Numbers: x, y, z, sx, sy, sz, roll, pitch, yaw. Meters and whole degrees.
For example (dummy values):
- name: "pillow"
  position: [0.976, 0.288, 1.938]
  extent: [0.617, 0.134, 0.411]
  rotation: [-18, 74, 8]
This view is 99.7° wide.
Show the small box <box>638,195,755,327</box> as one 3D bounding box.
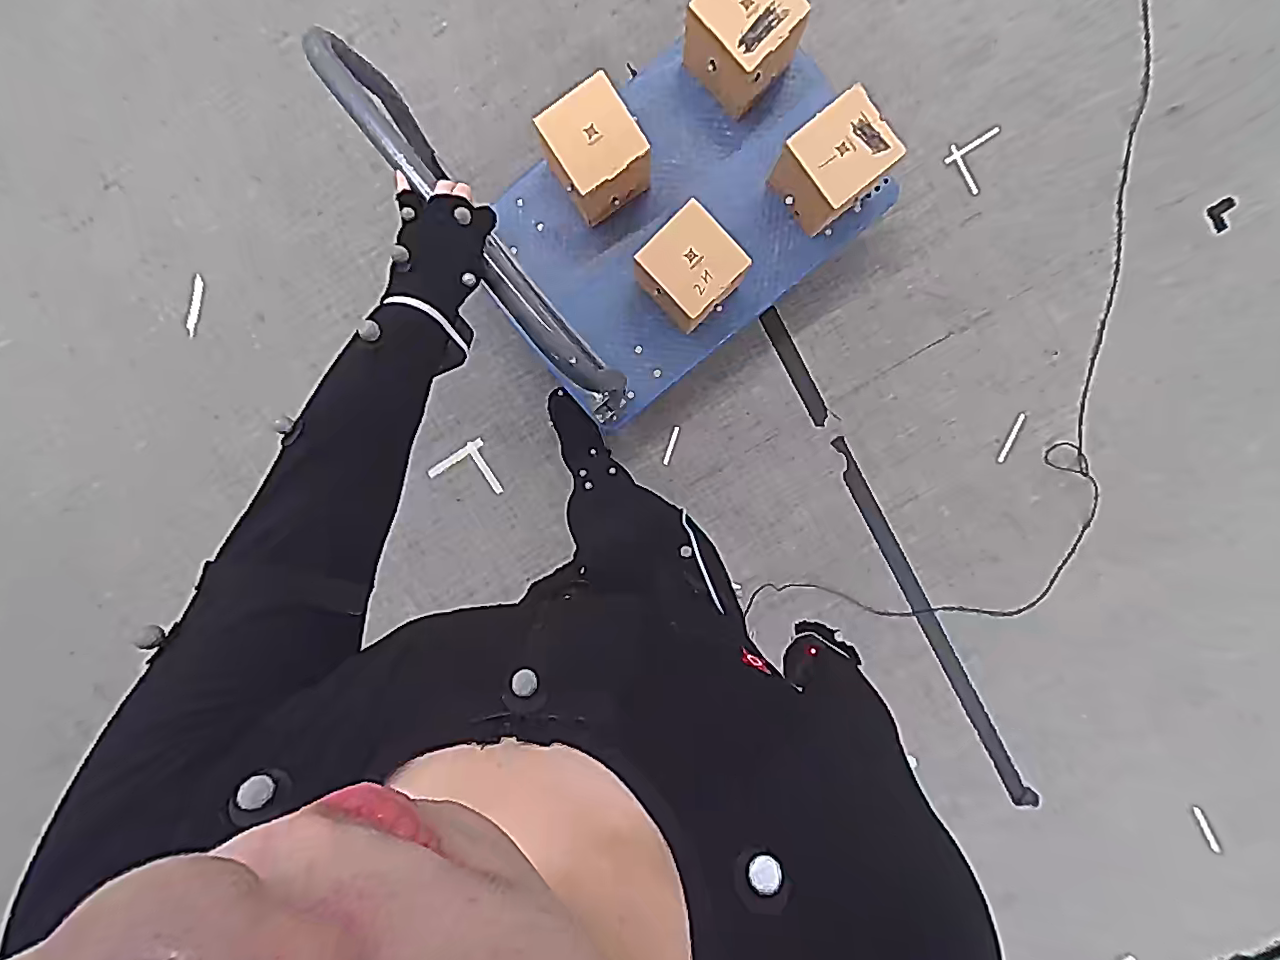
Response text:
- name: "small box"
  position: [0.112, -0.450, 1.146]
  extent: [0.168, 0.176, 0.179]
  rotation: [-43, 94, 5]

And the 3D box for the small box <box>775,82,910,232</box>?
- name: "small box"
  position: [0.408, -0.655, 1.120]
  extent: [0.179, 0.176, 0.168]
  rotation: [-37, 94, 6]

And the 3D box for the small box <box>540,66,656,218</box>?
- name: "small box"
  position: [-0.083, -0.687, 1.124]
  extent: [0.168, 0.176, 0.179]
  rotation: [-34, 96, 4]
